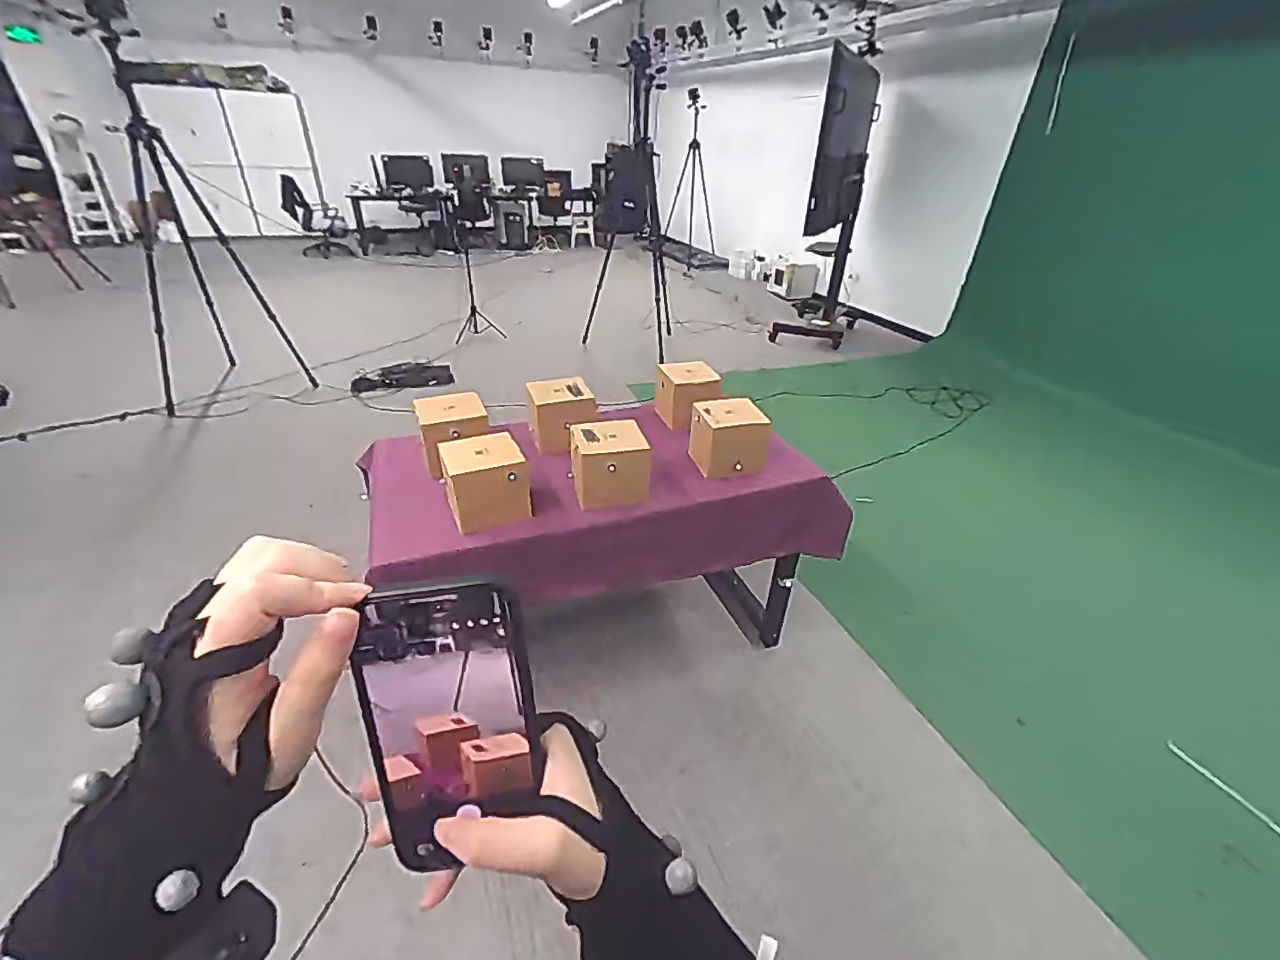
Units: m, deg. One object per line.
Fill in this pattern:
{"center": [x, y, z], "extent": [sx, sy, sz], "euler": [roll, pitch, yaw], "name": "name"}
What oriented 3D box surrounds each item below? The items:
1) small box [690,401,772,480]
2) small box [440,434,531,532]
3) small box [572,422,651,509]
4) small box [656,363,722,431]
{"center": [0.254, -0.114, 1.558], "extent": [0.179, 0.176, 0.168], "euler": [-6, 33, -13], "name": "small box"}
{"center": [-0.376, 0.007, 1.323], "extent": [0.179, 0.176, 0.168], "euler": [-12, 35, -24], "name": "small box"}
{"center": [-0.078, -0.037, 1.413], "extent": [0.179, 0.176, 0.168], "euler": [-6, 33, -14], "name": "small box"}
{"center": [0.157, -0.278, 1.808], "extent": [0.168, 0.176, 0.179], "euler": [-8, 35, -16], "name": "small box"}
